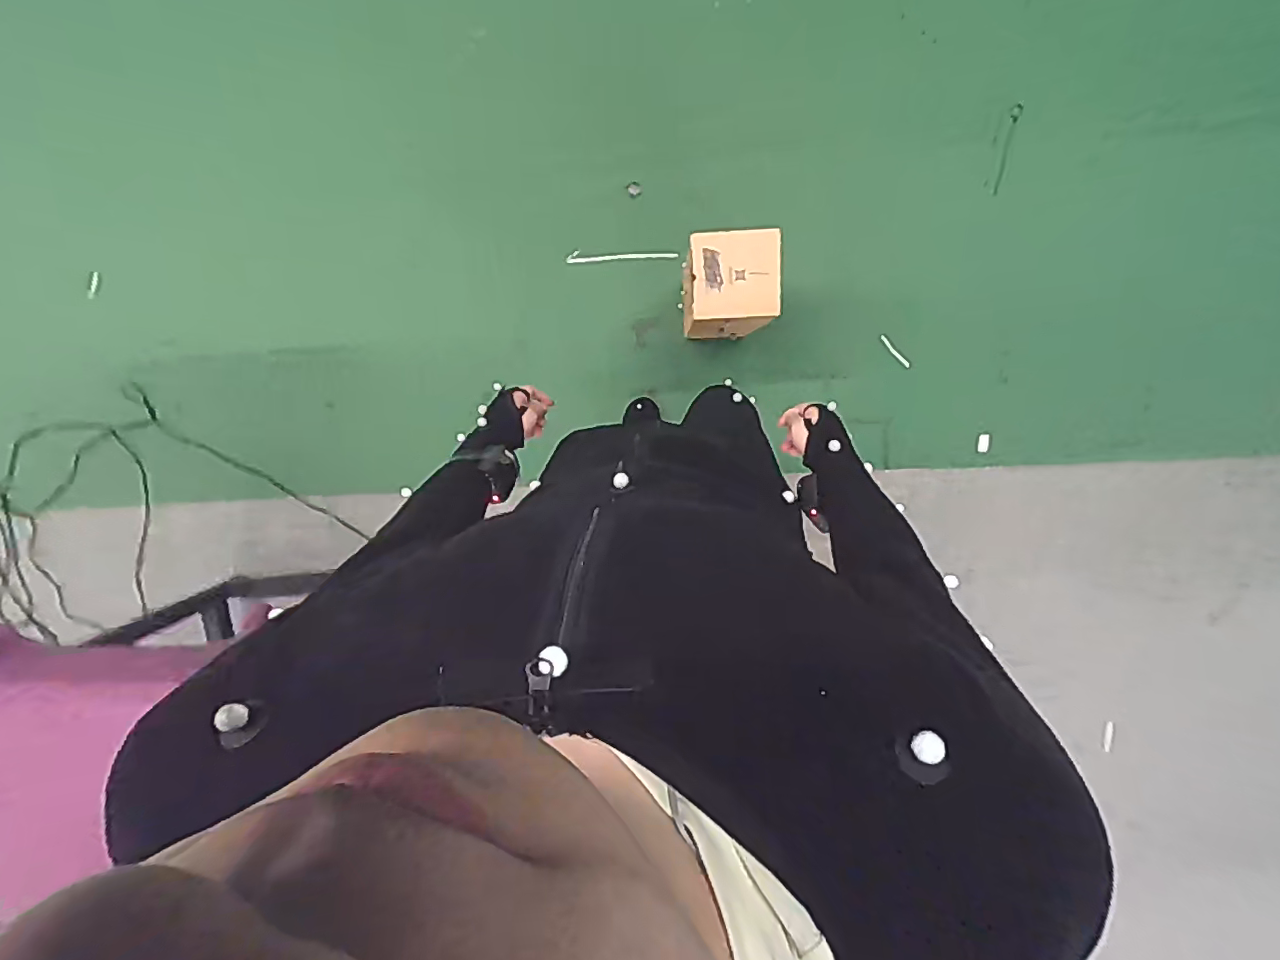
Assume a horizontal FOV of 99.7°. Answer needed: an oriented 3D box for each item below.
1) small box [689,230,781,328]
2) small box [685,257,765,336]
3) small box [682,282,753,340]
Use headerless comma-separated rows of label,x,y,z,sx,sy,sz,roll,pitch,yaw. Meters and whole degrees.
small box,0.192,-0.414,1.139,0.179,0.176,0.168,-2,101,3
small box,0.199,-0.441,1.301,0.179,0.176,0.168,-1,100,4
small box,0.207,-0.472,1.460,0.179,0.176,0.168,-1,100,3
